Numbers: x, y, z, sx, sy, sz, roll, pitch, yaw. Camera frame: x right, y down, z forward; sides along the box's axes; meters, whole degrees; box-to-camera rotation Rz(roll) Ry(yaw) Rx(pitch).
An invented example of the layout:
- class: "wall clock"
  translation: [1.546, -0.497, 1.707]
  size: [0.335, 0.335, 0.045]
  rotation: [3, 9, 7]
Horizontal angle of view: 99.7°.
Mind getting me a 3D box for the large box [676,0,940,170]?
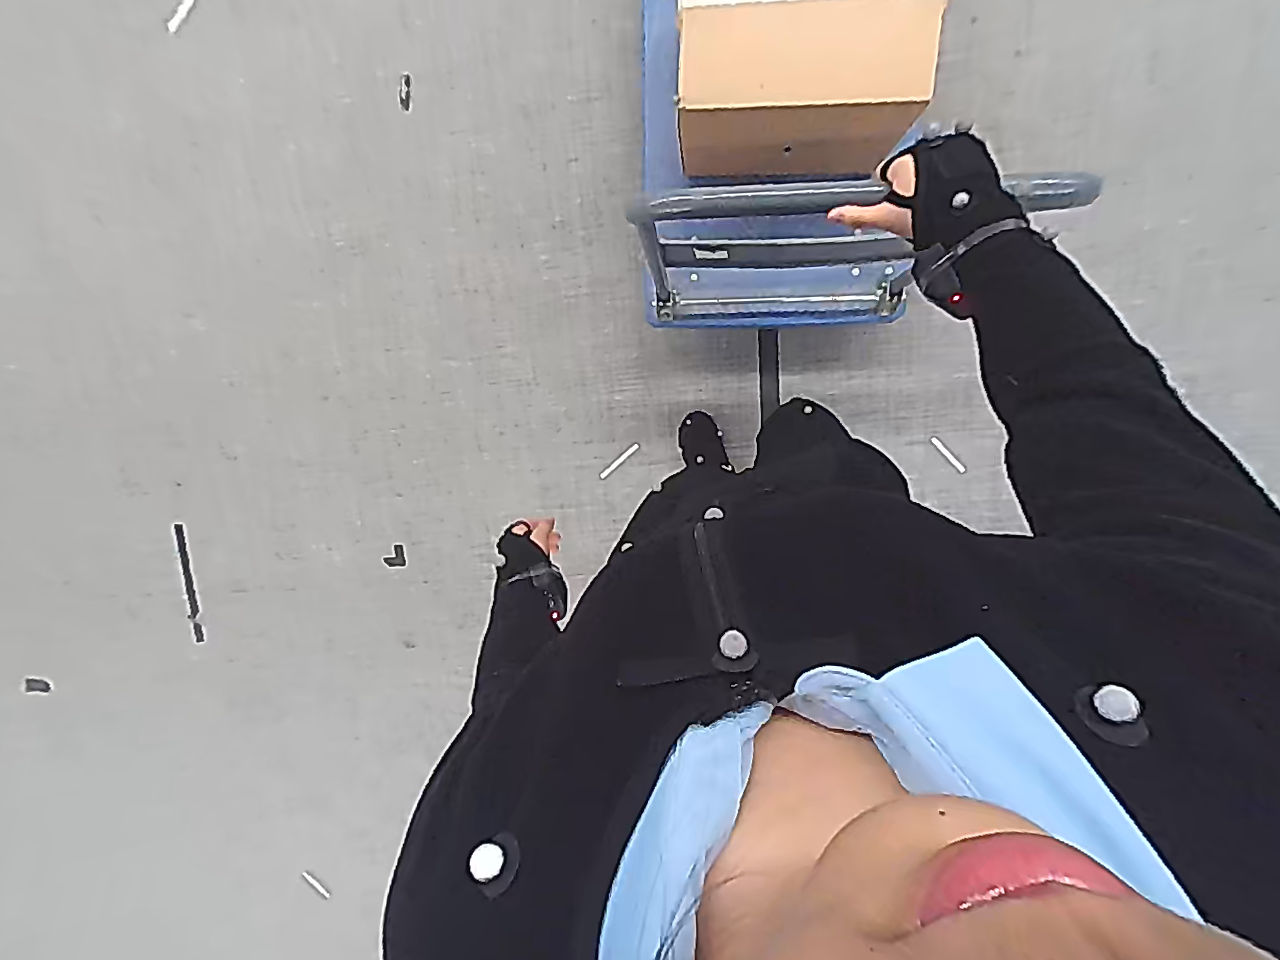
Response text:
- class: "large box"
  translation: [0.277, -0.789, 0.979]
  size: [0.408, 0.320, 0.320]
  rotation: [2, 100, 7]
